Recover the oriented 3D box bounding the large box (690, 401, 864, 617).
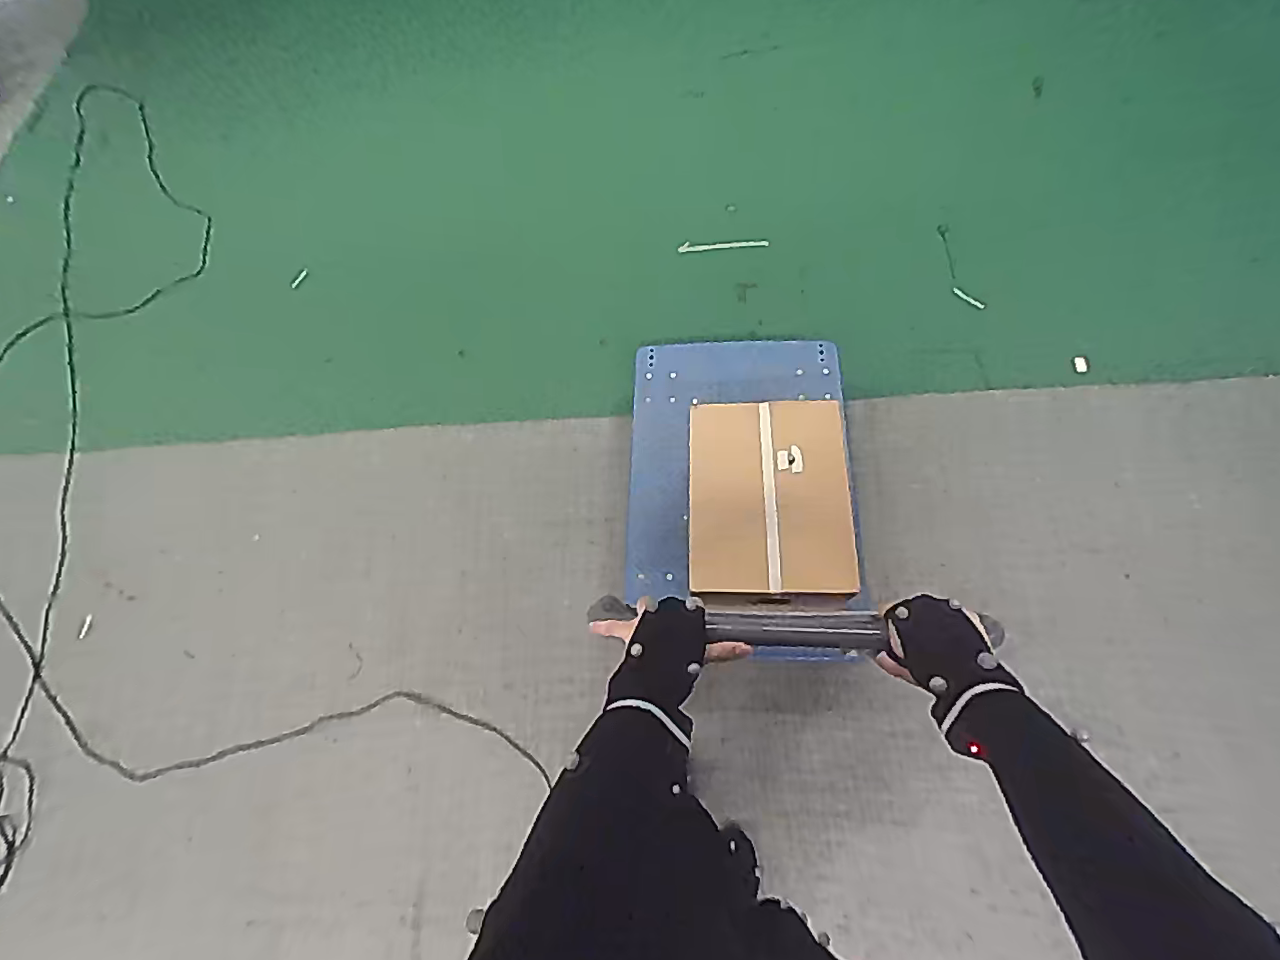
[{"bbox_3d":[0.275,0.079,1.203,0.320,0.320,0.408,0,67,6],"label":"large box"}]
